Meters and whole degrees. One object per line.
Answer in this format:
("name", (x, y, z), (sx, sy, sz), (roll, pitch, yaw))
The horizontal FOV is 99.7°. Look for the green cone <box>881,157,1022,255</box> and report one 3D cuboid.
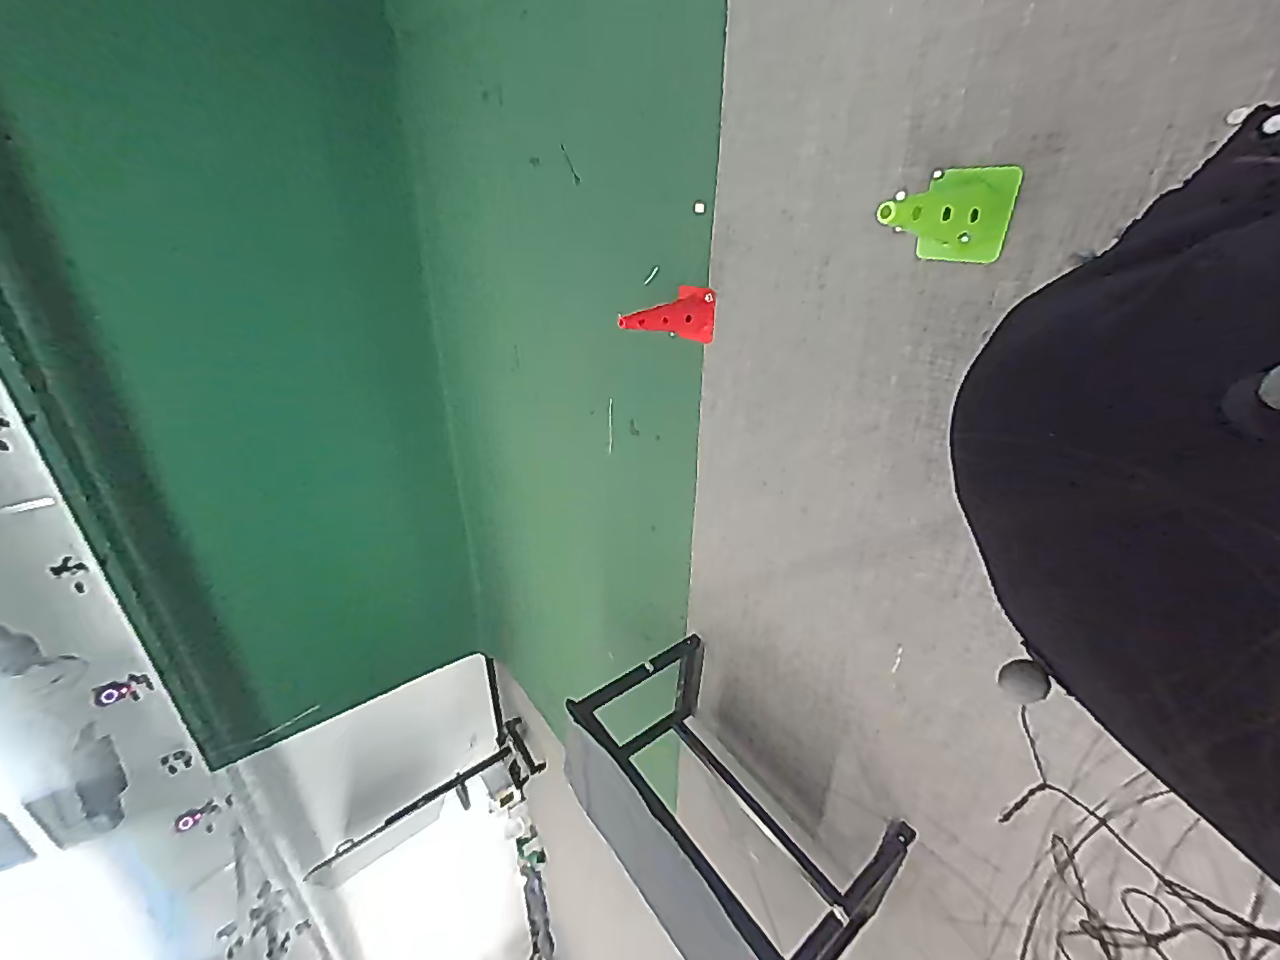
("green cone", (0.639, -0.596, 1.188), (0.202, 0.368, 0.200), (29, 129, 45))
